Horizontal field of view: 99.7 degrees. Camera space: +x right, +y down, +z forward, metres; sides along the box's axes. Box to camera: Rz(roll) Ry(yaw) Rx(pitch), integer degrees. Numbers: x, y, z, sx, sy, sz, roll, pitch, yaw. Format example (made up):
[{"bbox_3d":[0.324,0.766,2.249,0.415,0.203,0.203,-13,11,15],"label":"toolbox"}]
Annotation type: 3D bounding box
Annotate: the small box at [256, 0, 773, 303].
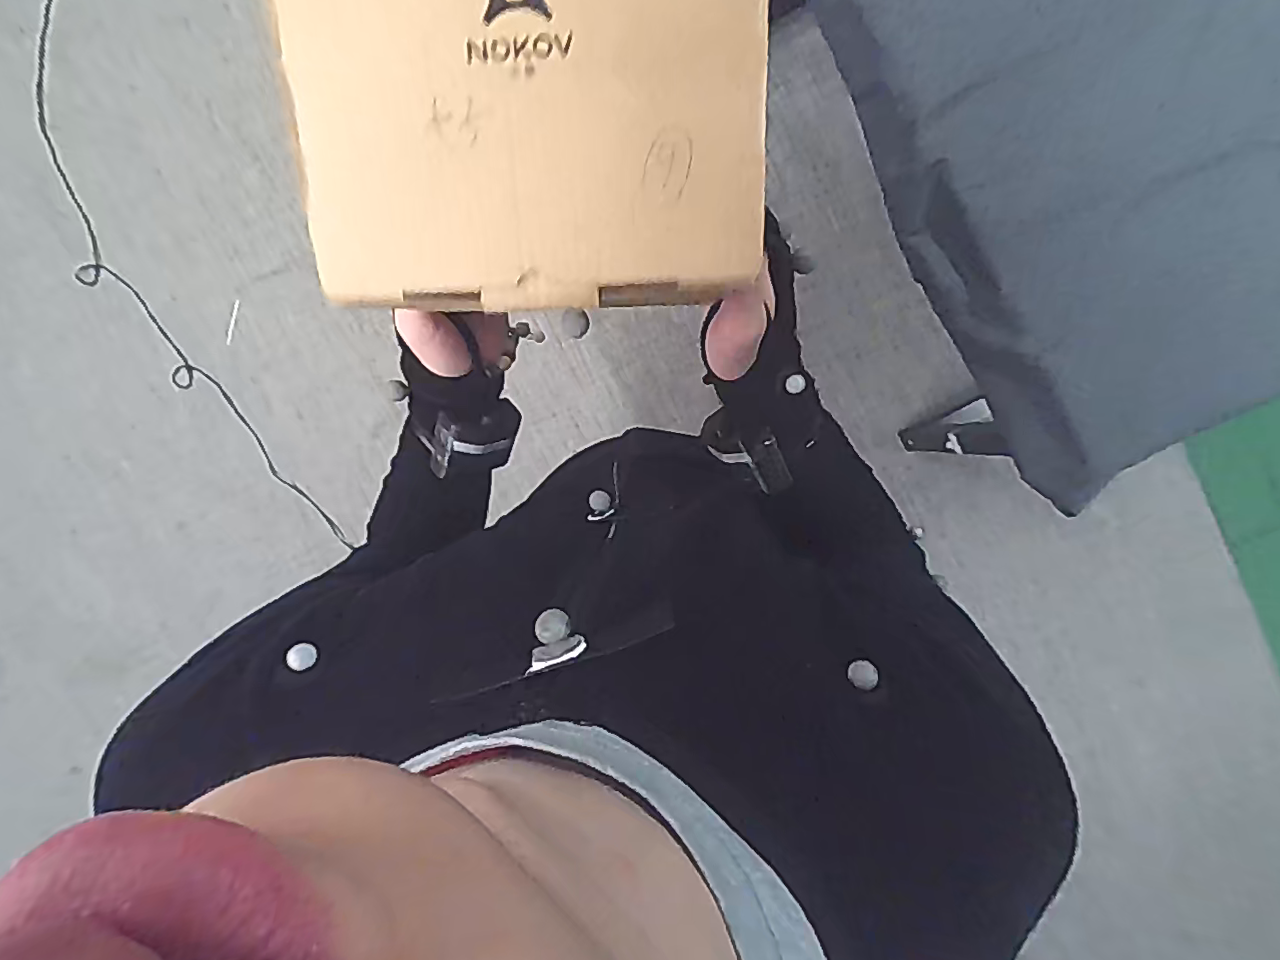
[{"bbox_3d":[-0.039,-0.174,0.248,0.168,0.176,0.179,-2,106,0],"label":"small box"}]
